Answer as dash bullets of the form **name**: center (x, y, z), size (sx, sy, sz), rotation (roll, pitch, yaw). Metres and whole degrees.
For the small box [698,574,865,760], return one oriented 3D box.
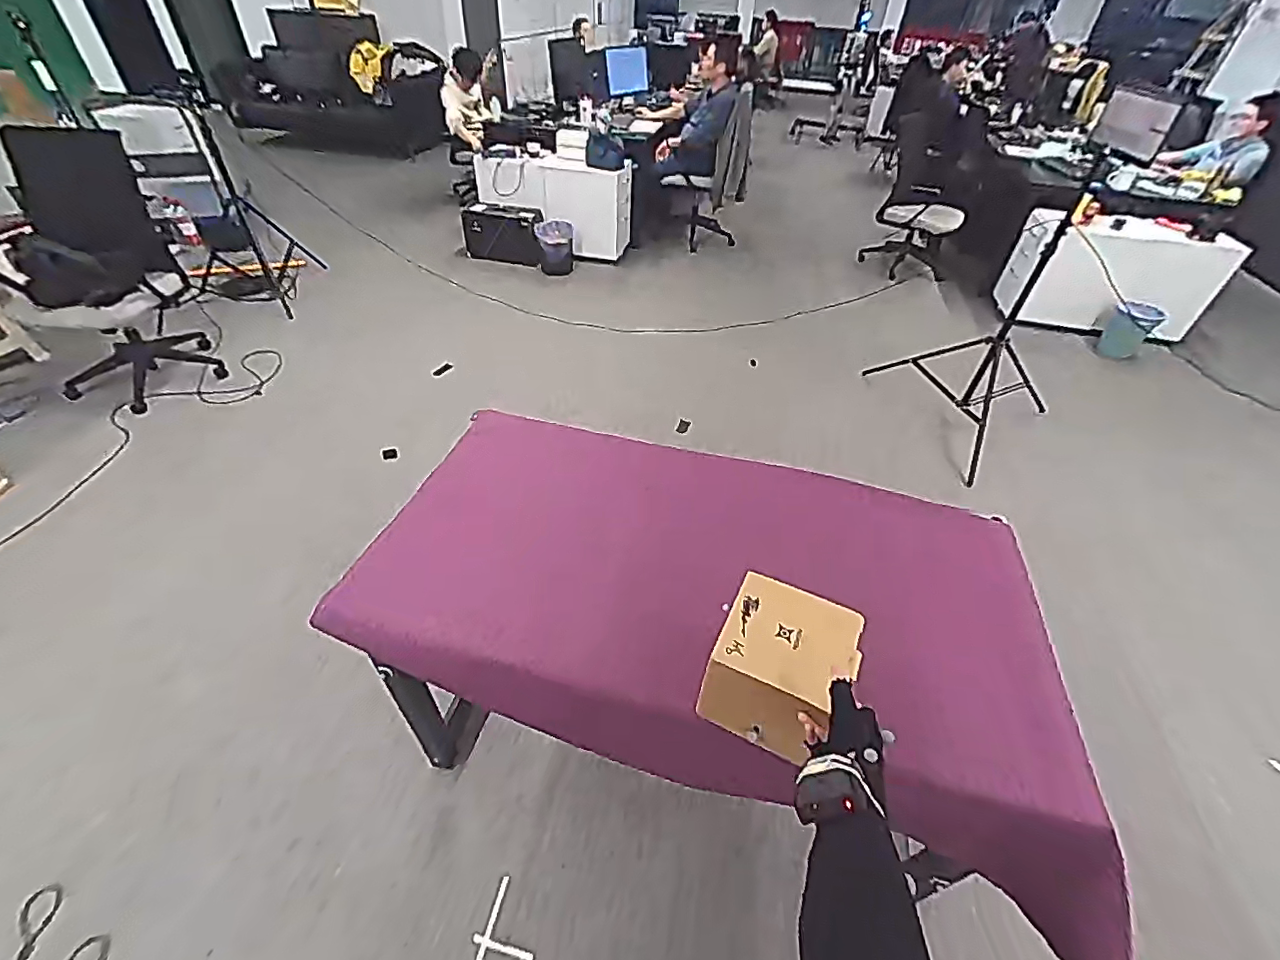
- **small box**: center (0.200, 0.276, 0.789), size (0.179, 0.176, 0.168), rotation (21, 44, 17)
